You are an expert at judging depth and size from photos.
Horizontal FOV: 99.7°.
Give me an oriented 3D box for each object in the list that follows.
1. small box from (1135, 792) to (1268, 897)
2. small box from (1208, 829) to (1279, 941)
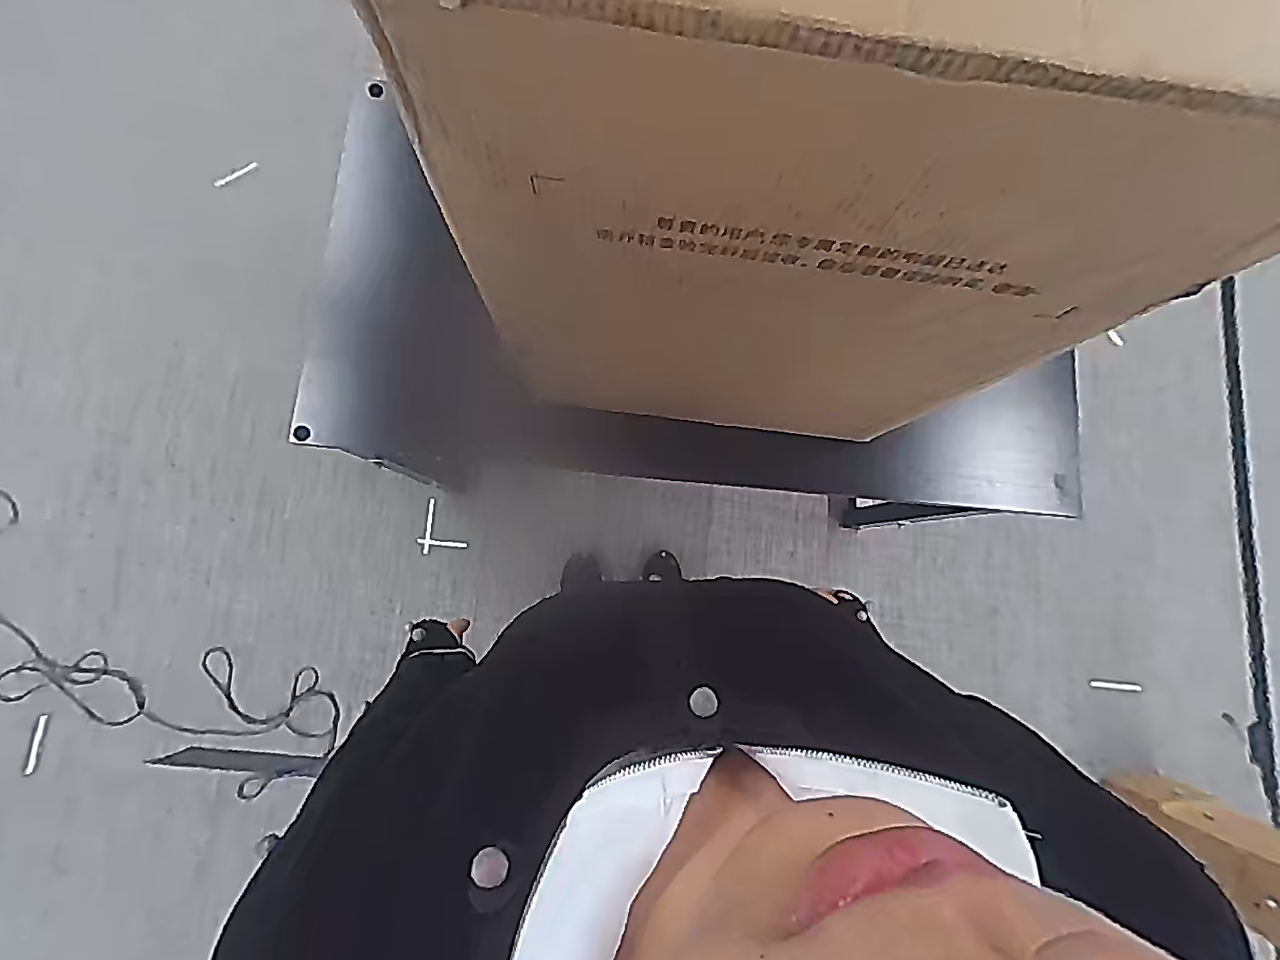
[{"bbox_3d":[1.412,0.906,1.359,0.179,0.176,0.168,-1,82,-3],"label":"small box"},{"bbox_3d":[1.421,0.901,1.194,0.179,0.176,0.168,-2,82,-4],"label":"small box"}]
